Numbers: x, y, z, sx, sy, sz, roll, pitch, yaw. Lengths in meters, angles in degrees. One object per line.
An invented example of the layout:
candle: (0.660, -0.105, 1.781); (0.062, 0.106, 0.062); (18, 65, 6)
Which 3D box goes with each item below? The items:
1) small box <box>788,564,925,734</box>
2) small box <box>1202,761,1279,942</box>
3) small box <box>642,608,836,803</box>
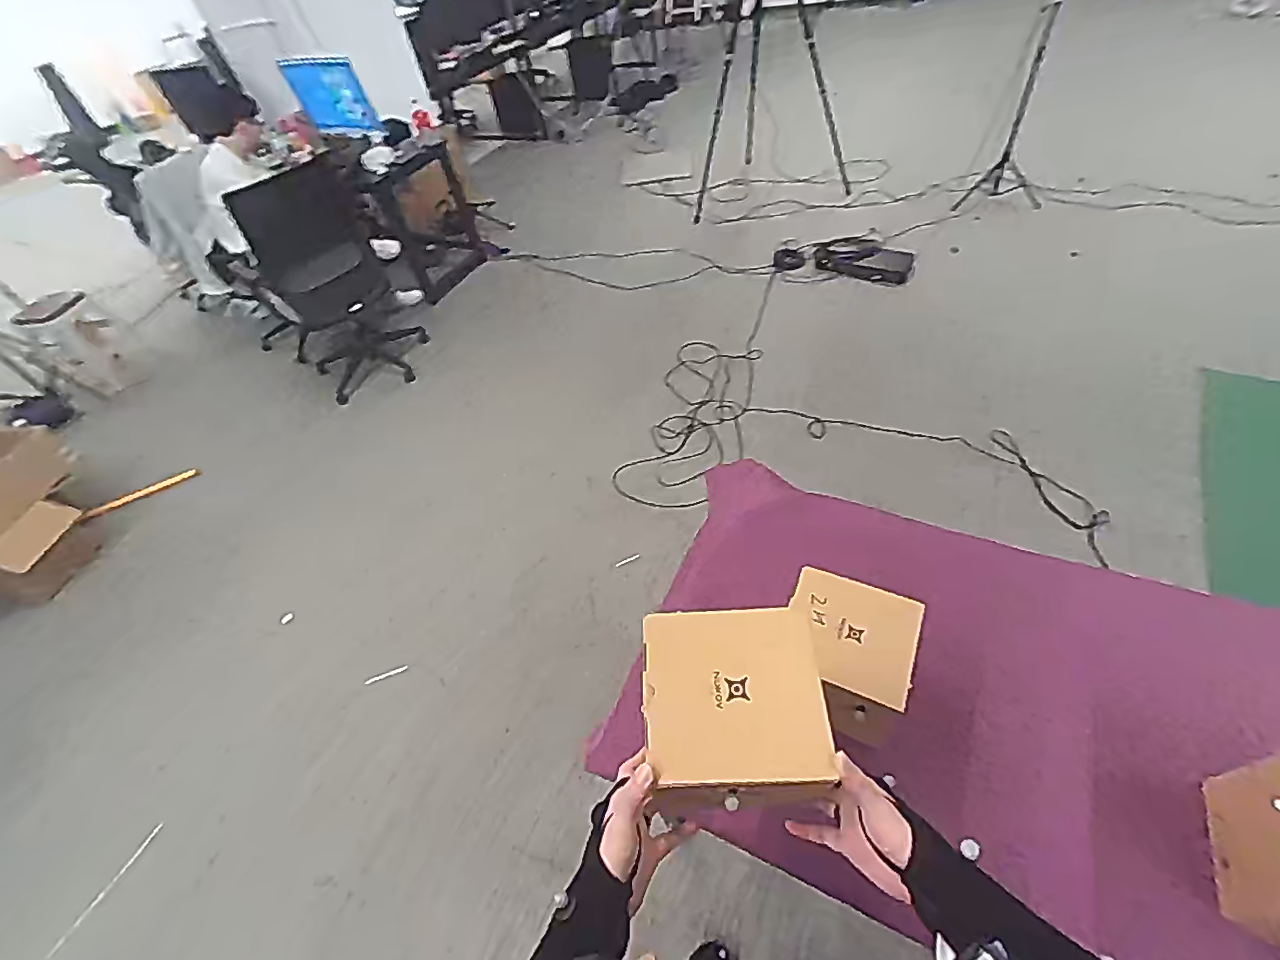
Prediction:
small box: (0.305, 0.261, 0.822); (0.179, 0.176, 0.168); (17, 55, 24)
small box: (0.779, 0.425, 0.585); (0.179, 0.176, 0.168); (15, 54, 23)
small box: (0.097, 0.254, 0.600); (0.179, 0.176, 0.168); (-5, 53, 4)
